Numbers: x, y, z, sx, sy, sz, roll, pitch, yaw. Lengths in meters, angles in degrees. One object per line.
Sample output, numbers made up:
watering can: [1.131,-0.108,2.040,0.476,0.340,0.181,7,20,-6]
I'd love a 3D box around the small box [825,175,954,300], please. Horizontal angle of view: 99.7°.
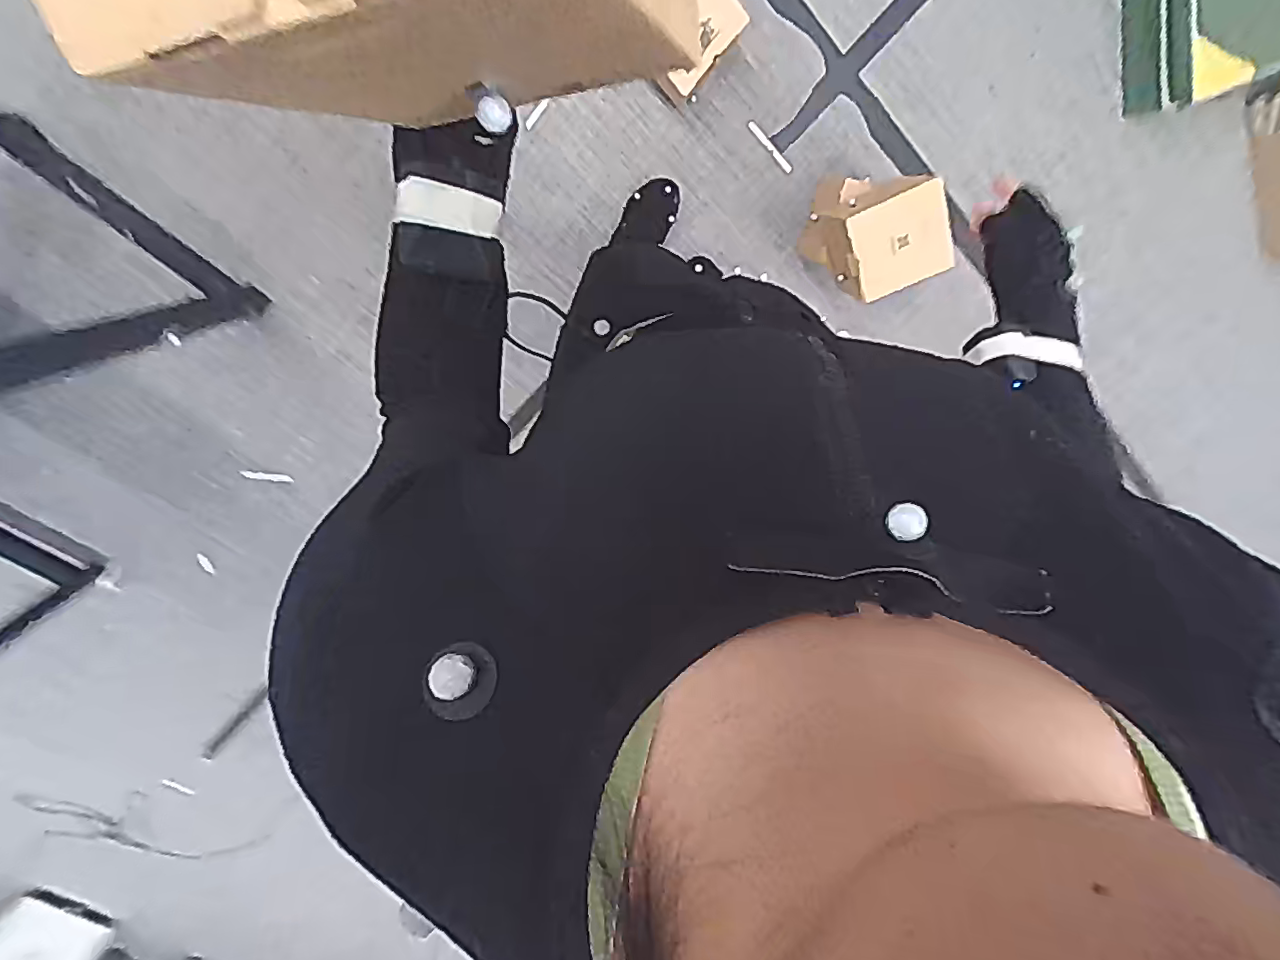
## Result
small box: [0.481,-0.478,1.065,0.179,0.176,0.168,-21,118,10]

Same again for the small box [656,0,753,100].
small box: [0.089,-0.871,1.038,0.168,0.176,0.179,-41,110,19]

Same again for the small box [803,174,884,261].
small box: [0.485,-0.569,1.204,0.179,0.176,0.168,9,118,-6]

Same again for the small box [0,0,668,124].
small box: [-0.093,-0.229,0.174,0.168,0.176,0.179,4,123,18]
